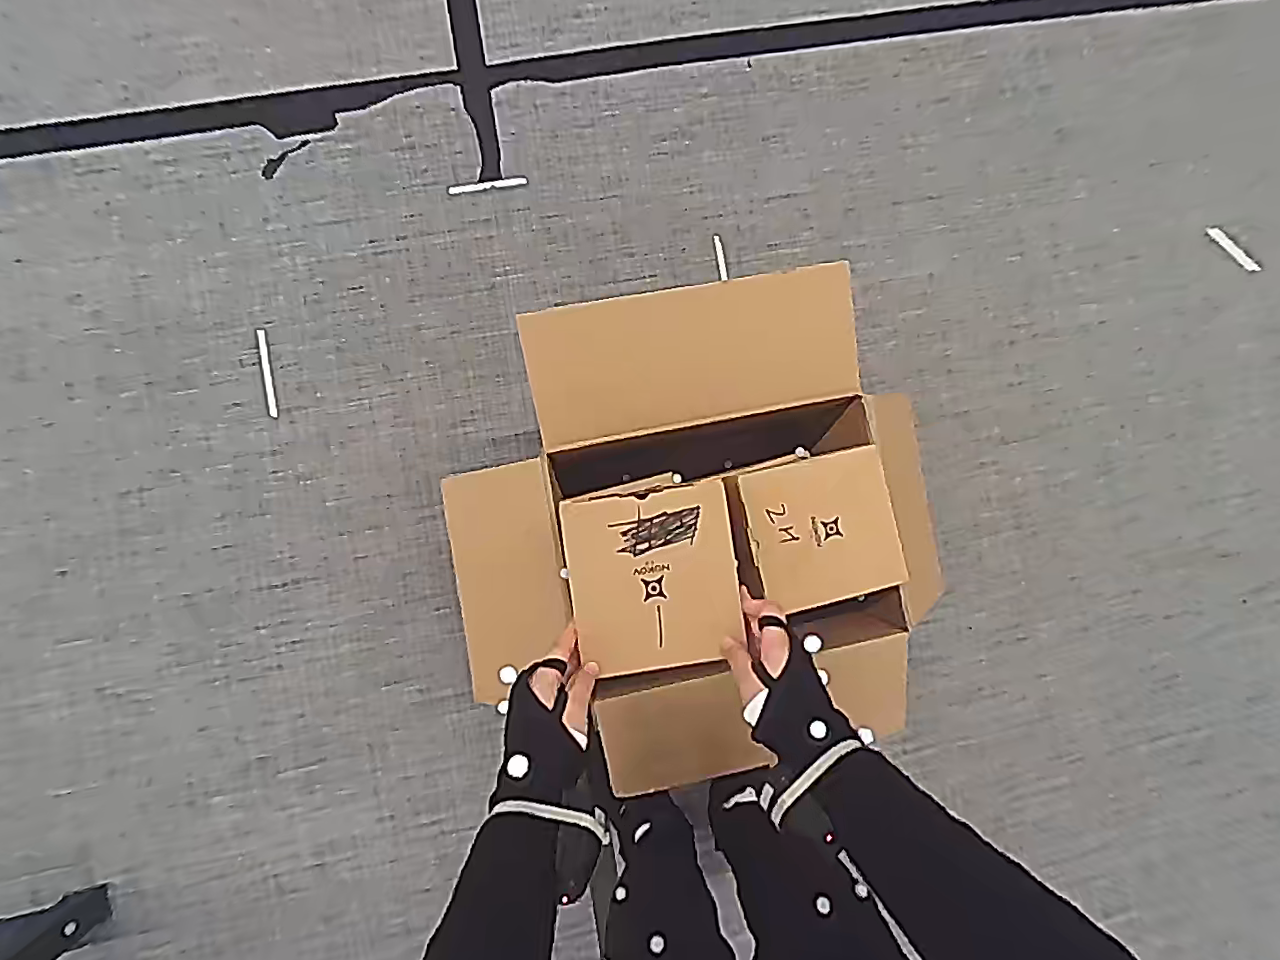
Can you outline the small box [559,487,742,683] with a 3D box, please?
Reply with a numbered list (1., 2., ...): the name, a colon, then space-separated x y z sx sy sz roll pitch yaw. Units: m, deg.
1. small box: 0.007 0.106 0.613 0.168 0.176 0.179 -8 89 -2
